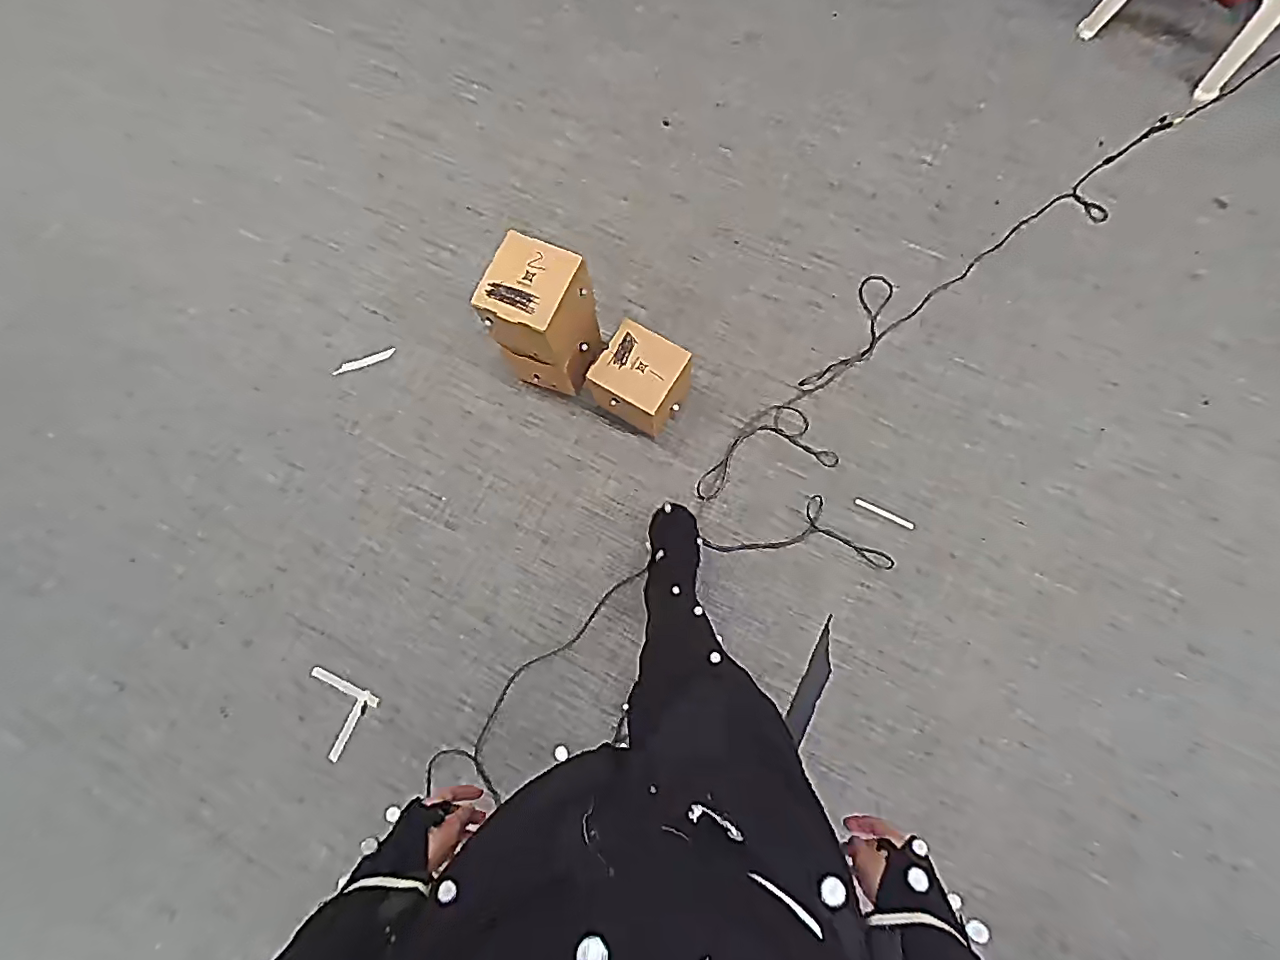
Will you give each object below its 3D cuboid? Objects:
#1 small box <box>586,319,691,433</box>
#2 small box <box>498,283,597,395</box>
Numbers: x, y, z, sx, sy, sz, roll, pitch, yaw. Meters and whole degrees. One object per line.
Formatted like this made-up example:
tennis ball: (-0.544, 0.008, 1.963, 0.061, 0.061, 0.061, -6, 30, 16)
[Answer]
small box: (0.000, -0.230, 1.242, 0.179, 0.176, 0.168, 31, 81, 9)
small box: (-0.209, -0.327, 1.280, 0.168, 0.176, 0.179, 18, 79, 8)
